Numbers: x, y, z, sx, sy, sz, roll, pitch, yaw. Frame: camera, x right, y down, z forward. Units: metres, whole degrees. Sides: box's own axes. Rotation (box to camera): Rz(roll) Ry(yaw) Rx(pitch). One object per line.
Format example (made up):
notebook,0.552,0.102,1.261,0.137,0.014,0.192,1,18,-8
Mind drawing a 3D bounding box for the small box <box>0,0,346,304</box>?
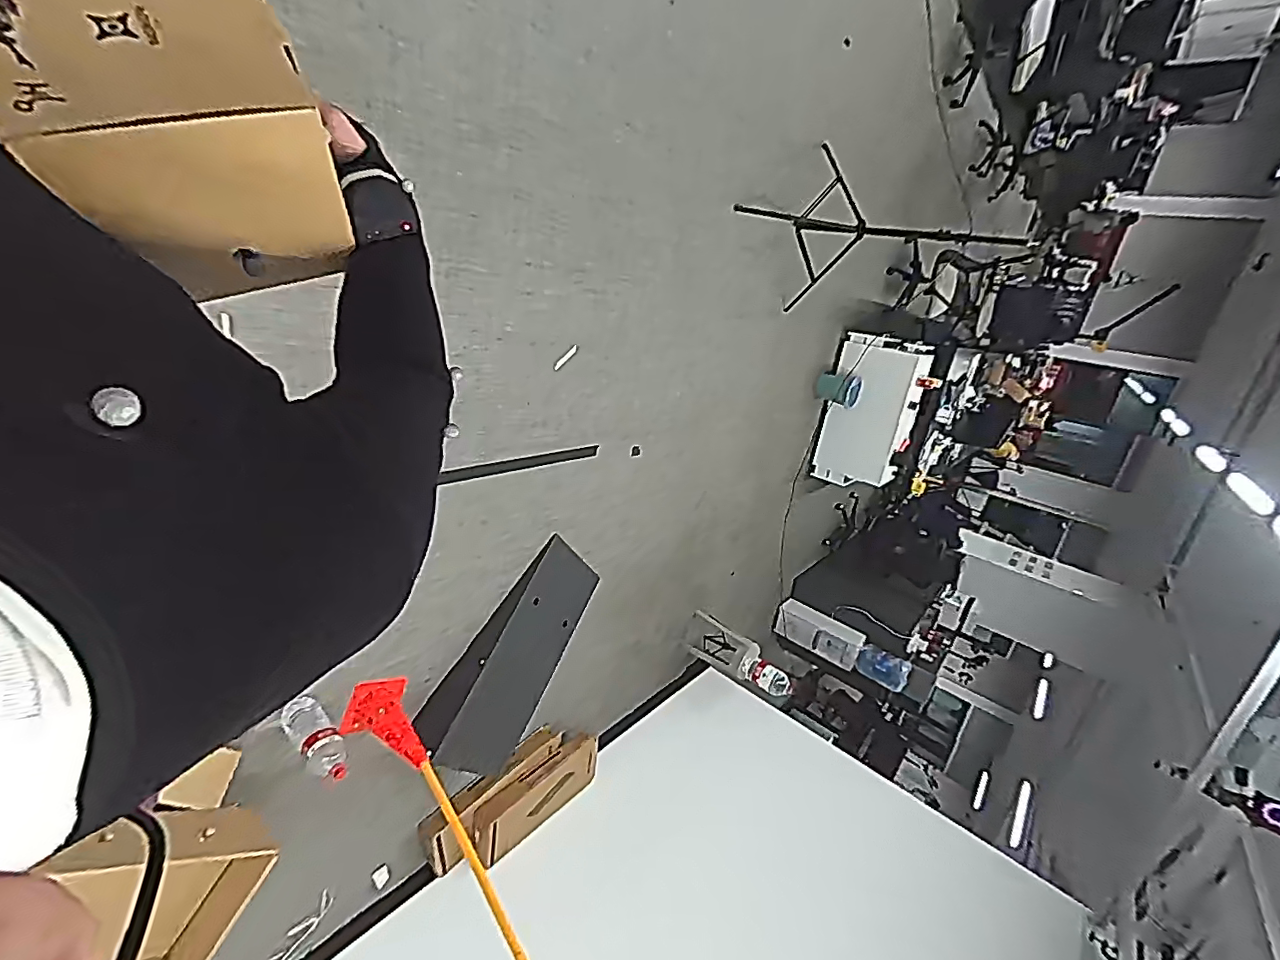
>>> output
small box,-0.368,-0.278,0.452,0.179,0.168,0.176,-24,168,-24
